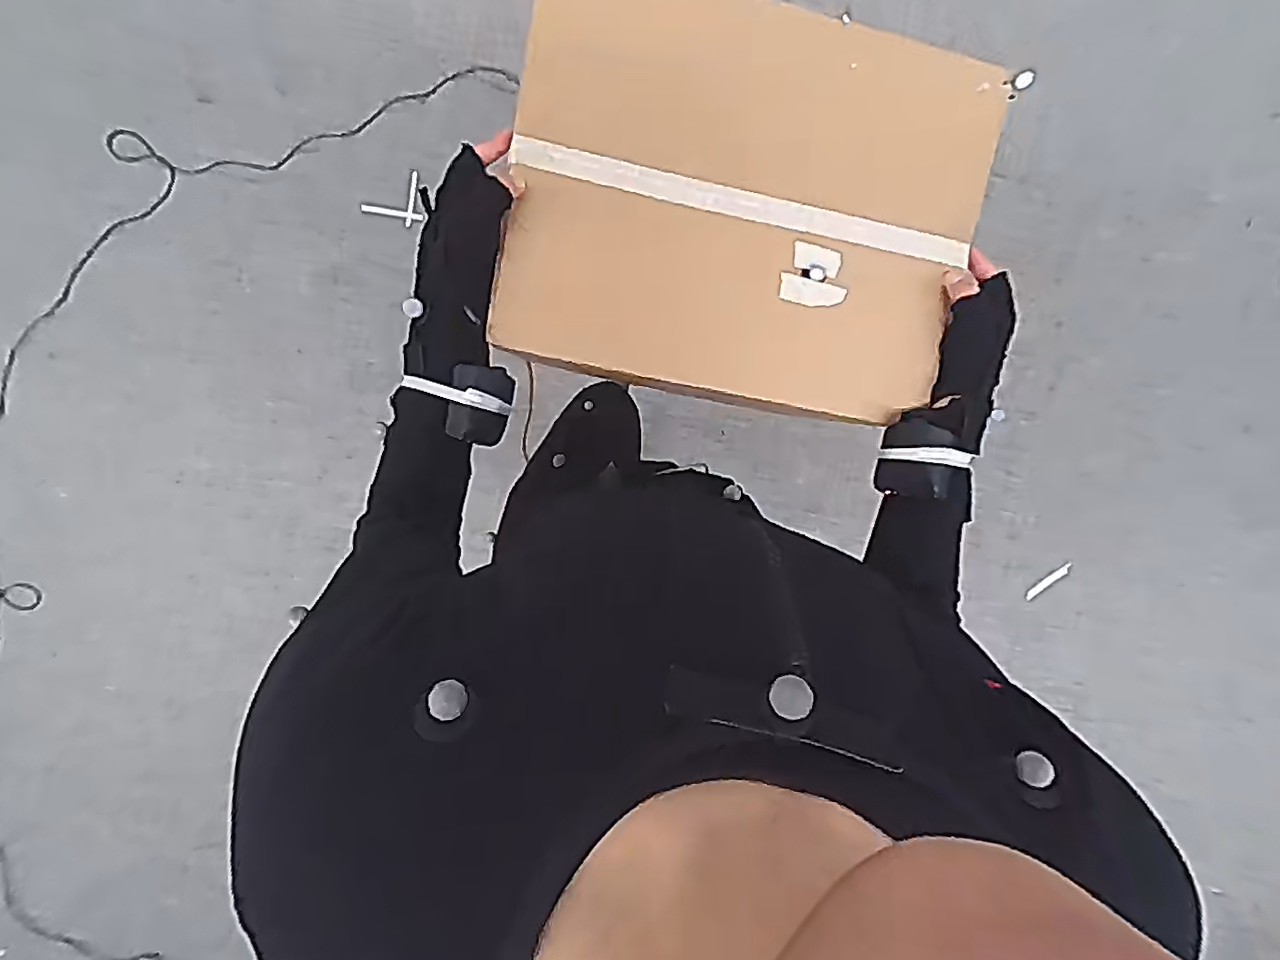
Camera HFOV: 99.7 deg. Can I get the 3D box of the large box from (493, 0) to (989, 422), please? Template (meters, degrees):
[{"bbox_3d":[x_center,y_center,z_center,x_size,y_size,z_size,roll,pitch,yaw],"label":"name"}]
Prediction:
[{"bbox_3d":[0.074,-0.258,0.619,0.408,0.320,0.320,10,99,-8],"label":"large box"}]
